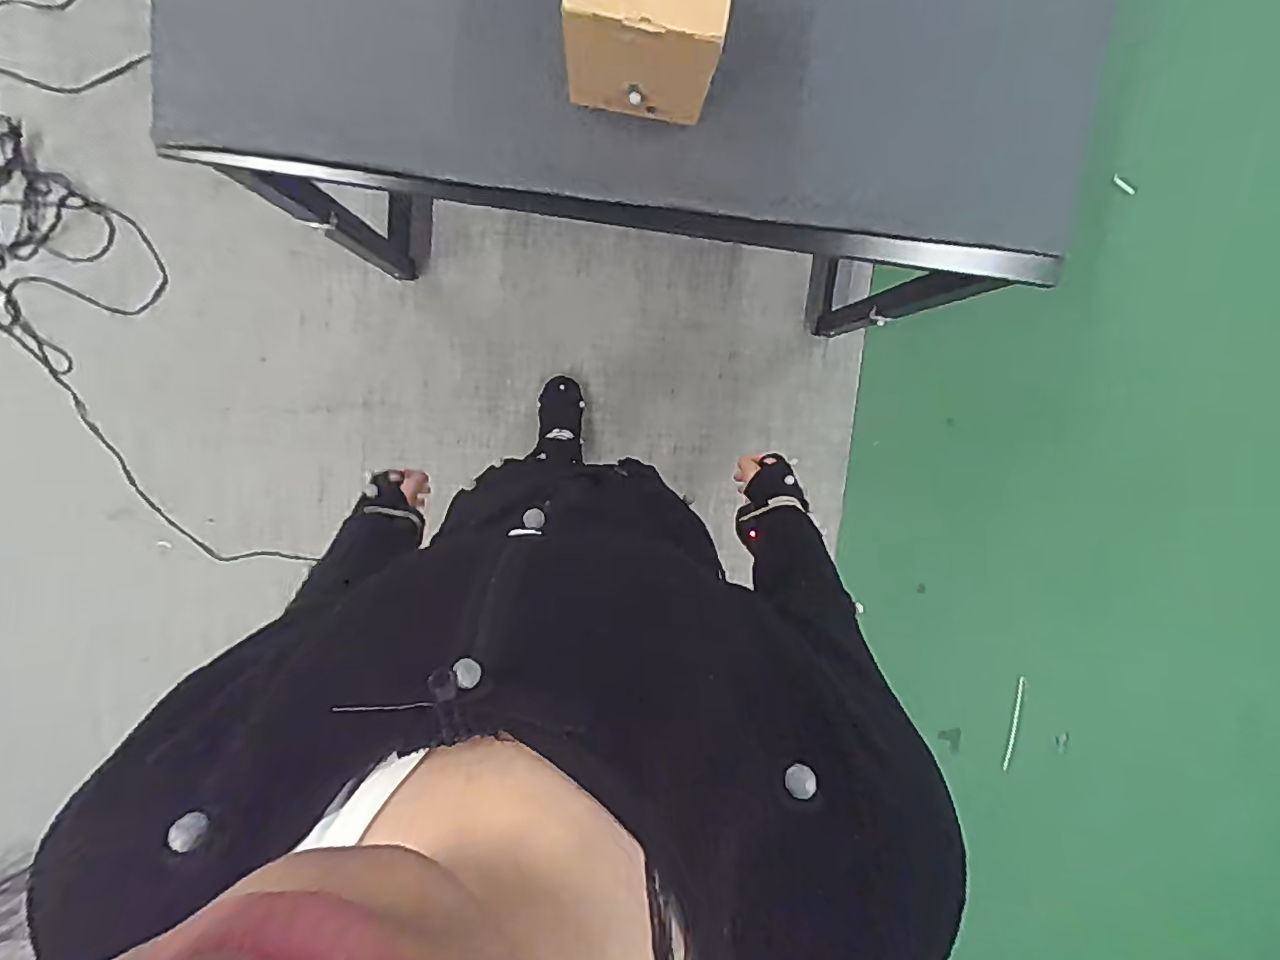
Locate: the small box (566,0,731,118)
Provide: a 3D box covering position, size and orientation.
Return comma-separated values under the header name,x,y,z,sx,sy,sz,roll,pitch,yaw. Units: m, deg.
name,x,y,z,sx,sy,sz,roll,pitch,yaw
small box,0.010,-0.547,0.594,0.168,0.176,0.179,7,96,-5
